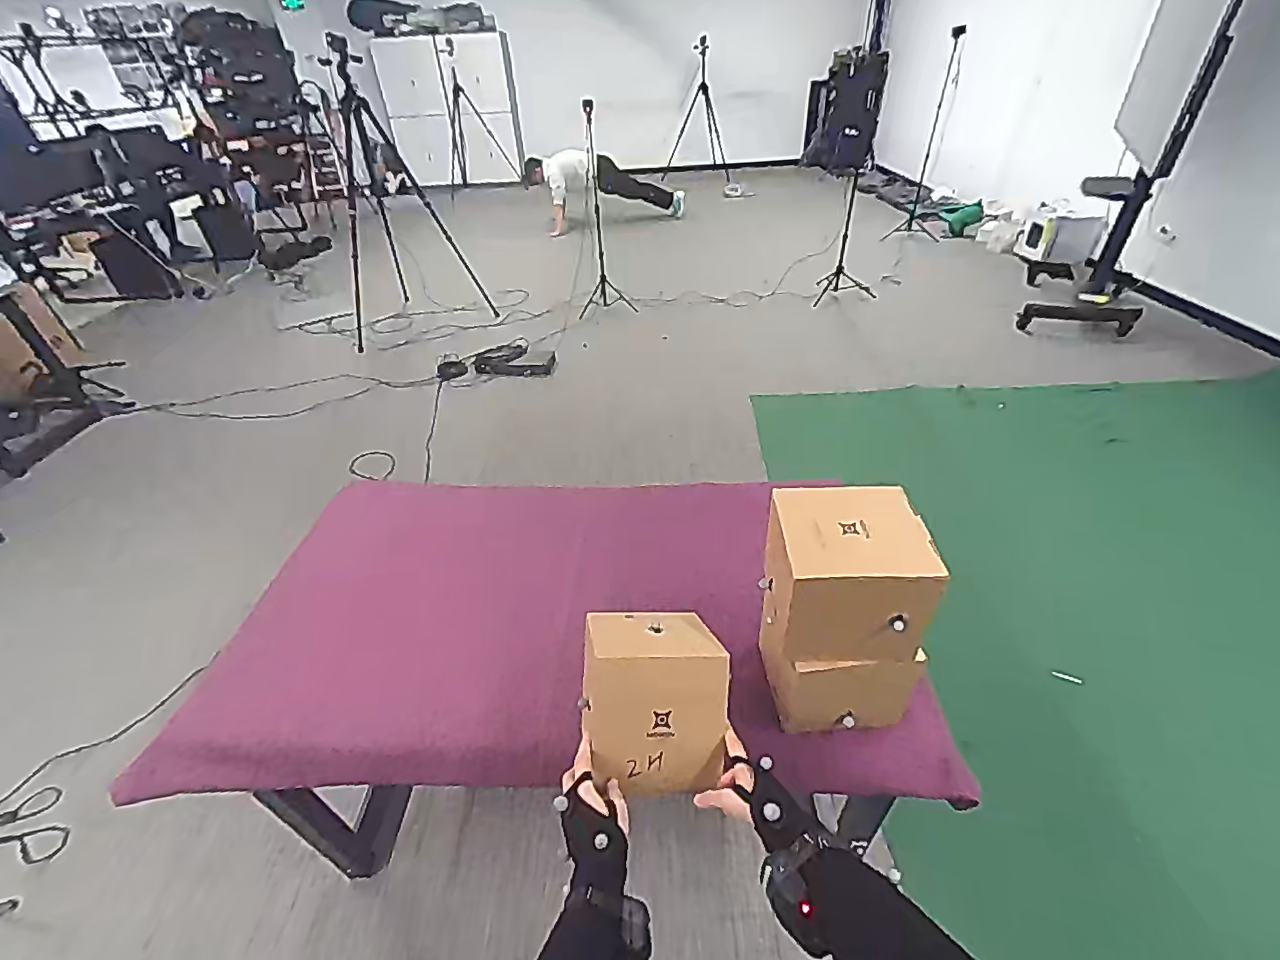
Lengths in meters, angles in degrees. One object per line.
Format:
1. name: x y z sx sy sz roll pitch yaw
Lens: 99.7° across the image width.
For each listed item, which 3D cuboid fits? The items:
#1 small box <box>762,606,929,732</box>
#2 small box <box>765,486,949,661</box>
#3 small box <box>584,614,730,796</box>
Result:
1. small box: 0.292 0.257 0.814 0.179 0.176 0.168 -4 38 0
2. small box: 0.270 0.124 0.720 0.179 0.176 0.168 -2 38 5
3. small box: 0.013 0.286 0.726 0.168 0.179 0.176 2 4 -8
